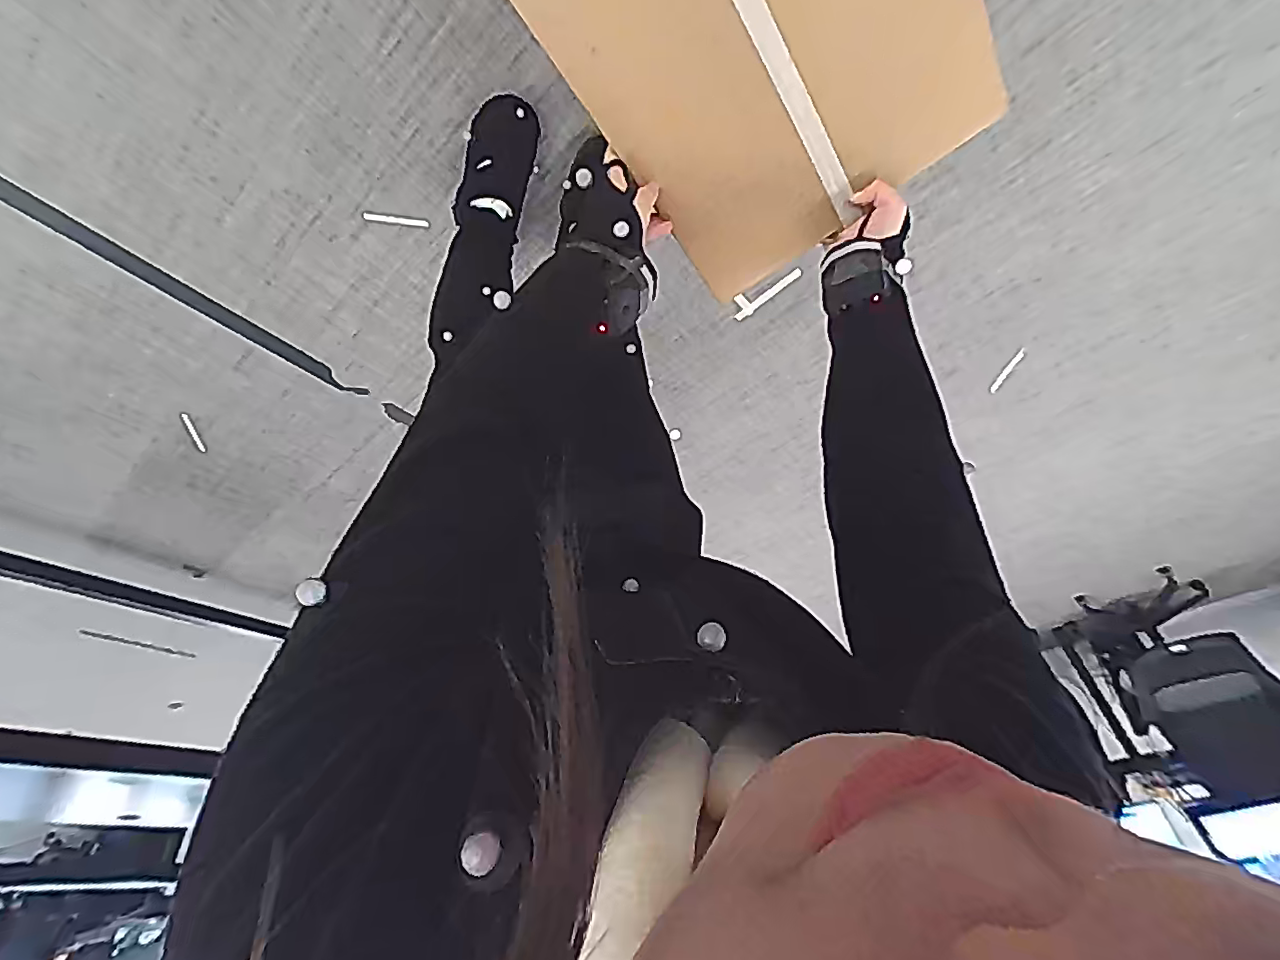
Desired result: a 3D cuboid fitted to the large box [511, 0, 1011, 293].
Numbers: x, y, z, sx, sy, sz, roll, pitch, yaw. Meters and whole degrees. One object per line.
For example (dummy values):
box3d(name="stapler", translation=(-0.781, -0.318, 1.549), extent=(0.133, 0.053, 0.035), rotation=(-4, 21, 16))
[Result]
box3d(name="large box", translation=(0.098, -0.491, 0.559), extent=(0.320, 0.320, 0.408), rotation=(-30, 125, 25))
